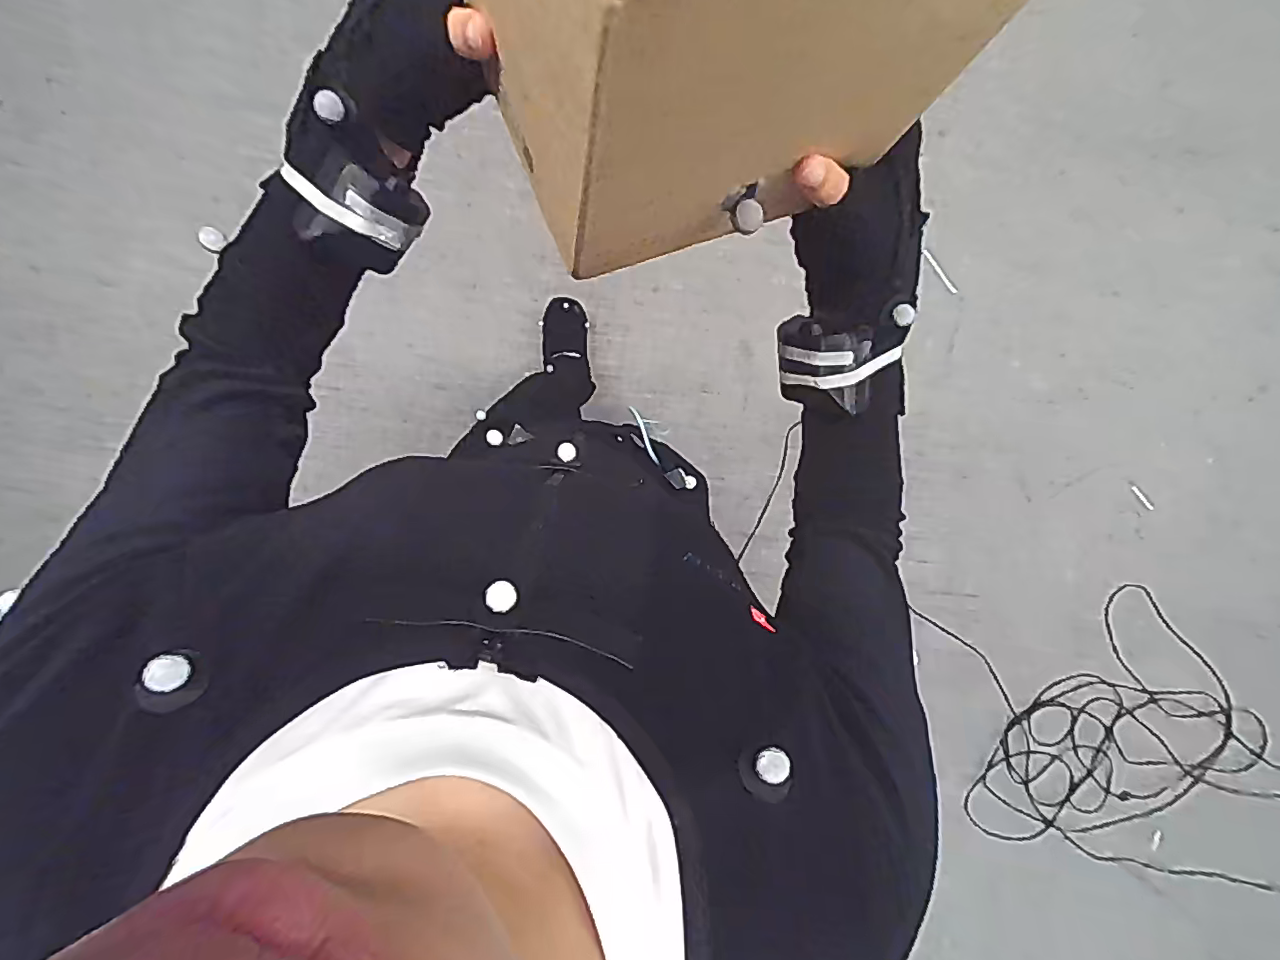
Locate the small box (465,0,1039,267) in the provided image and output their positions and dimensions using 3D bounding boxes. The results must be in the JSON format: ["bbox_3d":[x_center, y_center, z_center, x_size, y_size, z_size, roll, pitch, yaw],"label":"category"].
[{"bbox_3d":[0.029,-0.218,0.223,0.179,0.176,0.168,-22,91,-12],"label":"small box"}]
